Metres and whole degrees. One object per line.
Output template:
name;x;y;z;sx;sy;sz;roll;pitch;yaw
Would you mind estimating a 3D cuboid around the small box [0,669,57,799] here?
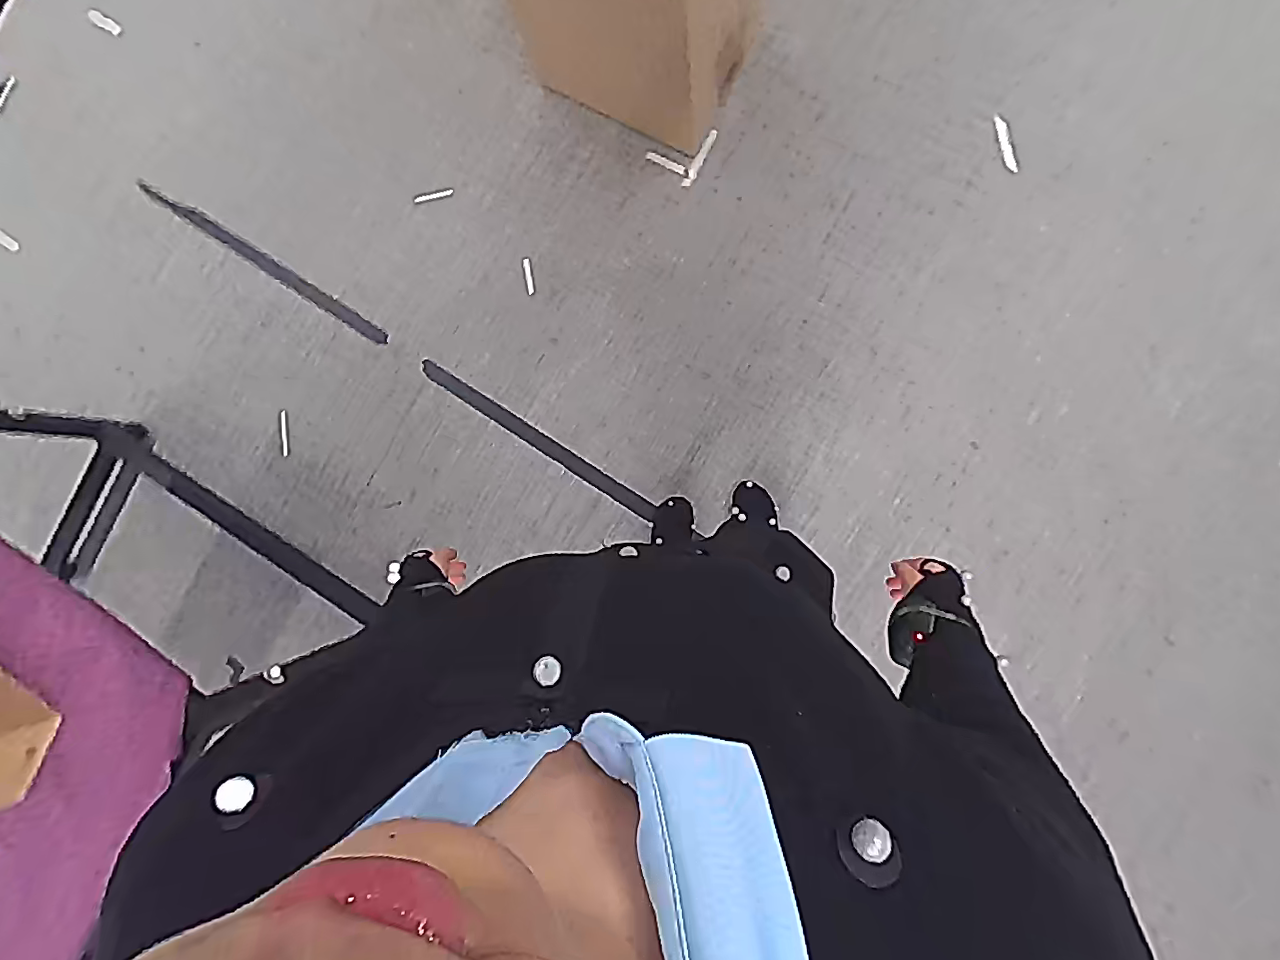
small box;-1.089;0.420;0.842;0.179;0.176;0.168;28;93;8
